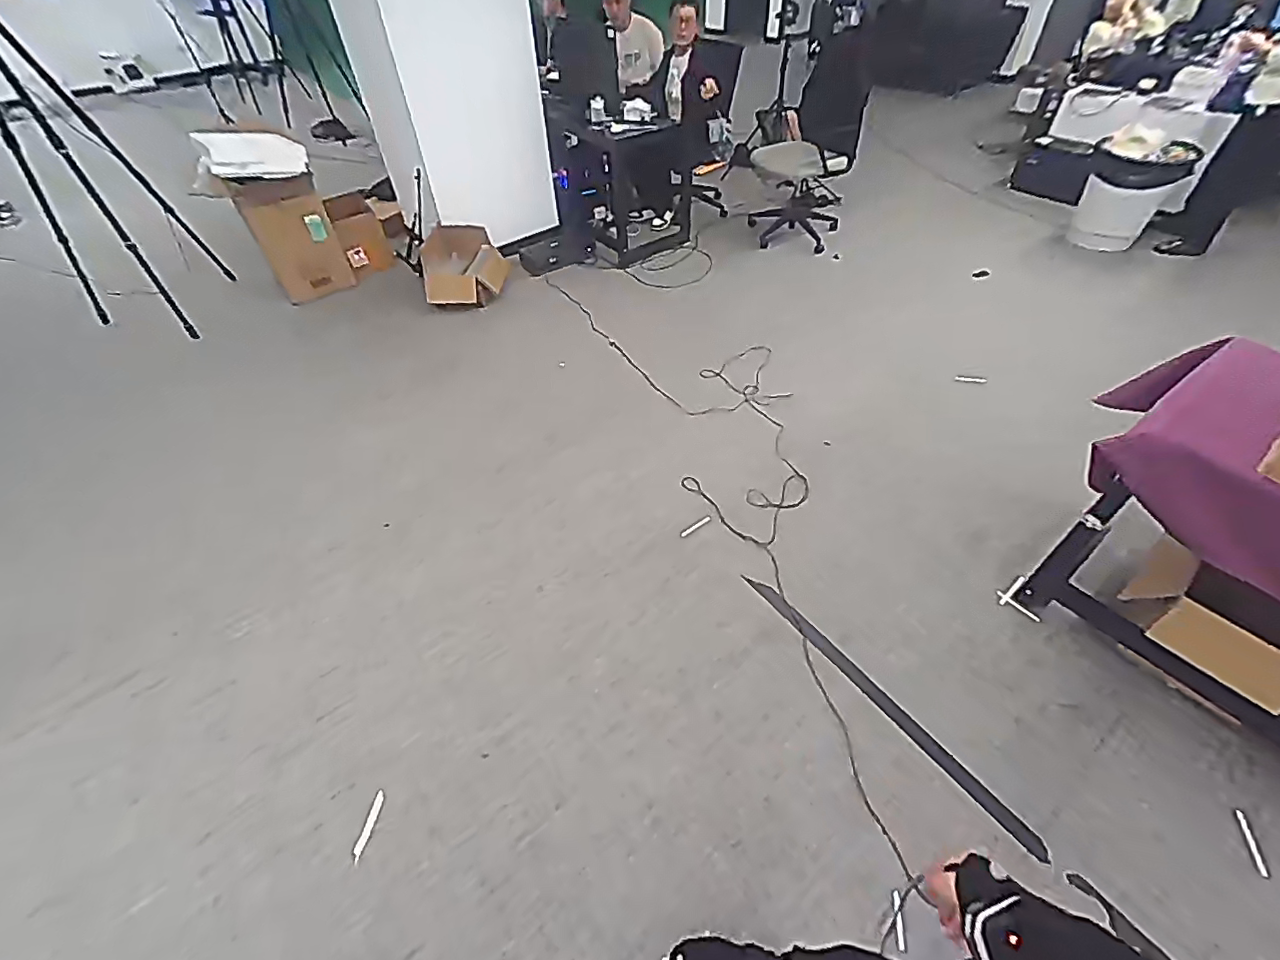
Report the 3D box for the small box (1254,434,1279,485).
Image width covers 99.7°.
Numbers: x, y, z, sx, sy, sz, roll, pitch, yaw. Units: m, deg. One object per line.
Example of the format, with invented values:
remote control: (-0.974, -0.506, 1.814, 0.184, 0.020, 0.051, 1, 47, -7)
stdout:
small box: (1.425, -0.061, 1.091, 0.168, 0.176, 0.179, -32, 54, -24)
